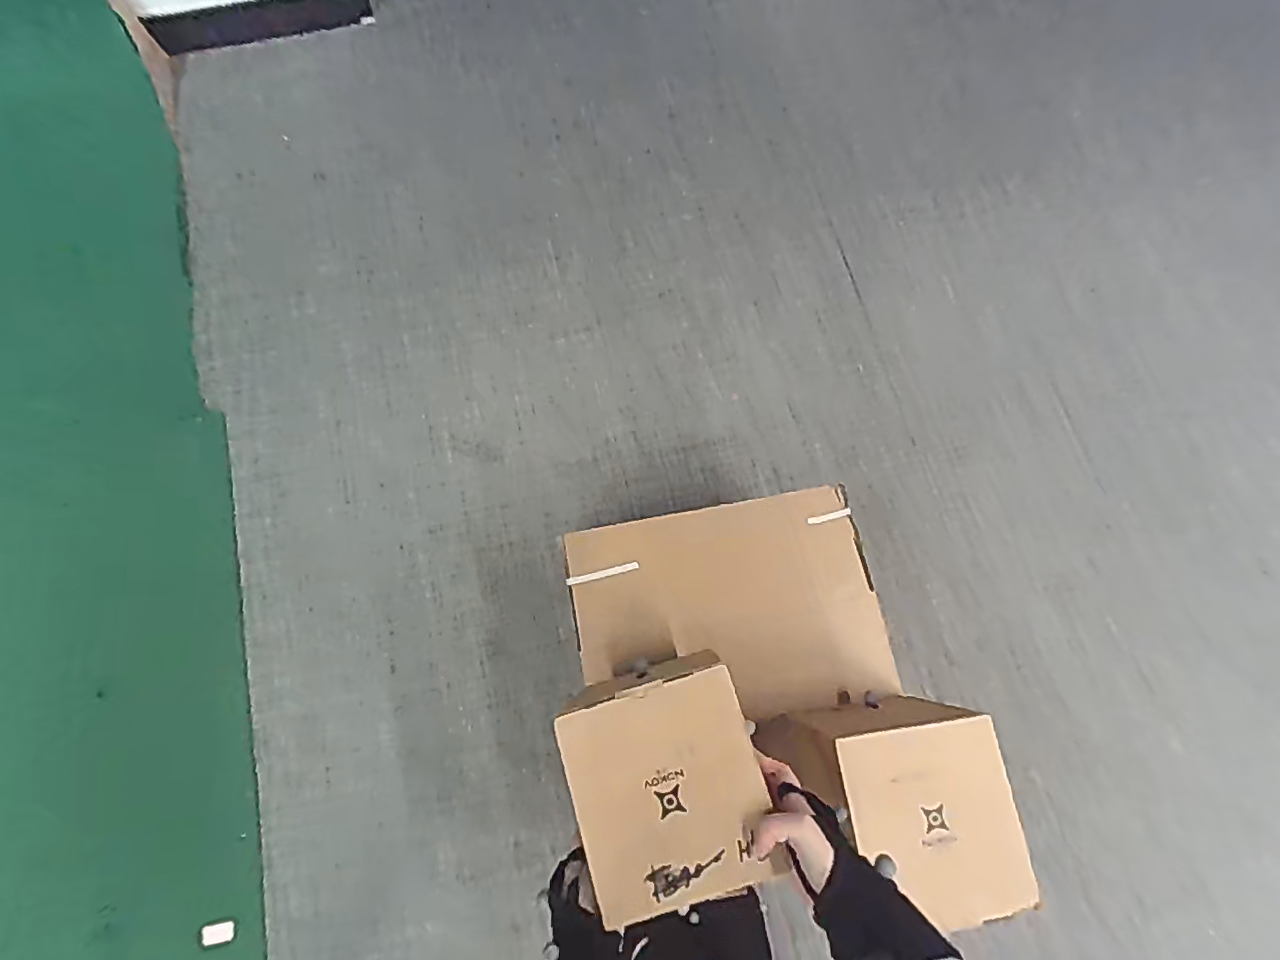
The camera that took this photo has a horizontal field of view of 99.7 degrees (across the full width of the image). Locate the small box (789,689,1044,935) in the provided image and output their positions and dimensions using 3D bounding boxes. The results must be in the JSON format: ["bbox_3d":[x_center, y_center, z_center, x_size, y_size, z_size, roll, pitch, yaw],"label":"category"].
[{"bbox_3d":[0.279,0.340,0.591,0.168,0.176,0.179,-7,75,-5],"label":"small box"}]

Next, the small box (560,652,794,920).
[{"bbox_3d":[0.031,0.280,0.545,0.168,0.176,0.179,-17,76,-1],"label":"small box"}]
